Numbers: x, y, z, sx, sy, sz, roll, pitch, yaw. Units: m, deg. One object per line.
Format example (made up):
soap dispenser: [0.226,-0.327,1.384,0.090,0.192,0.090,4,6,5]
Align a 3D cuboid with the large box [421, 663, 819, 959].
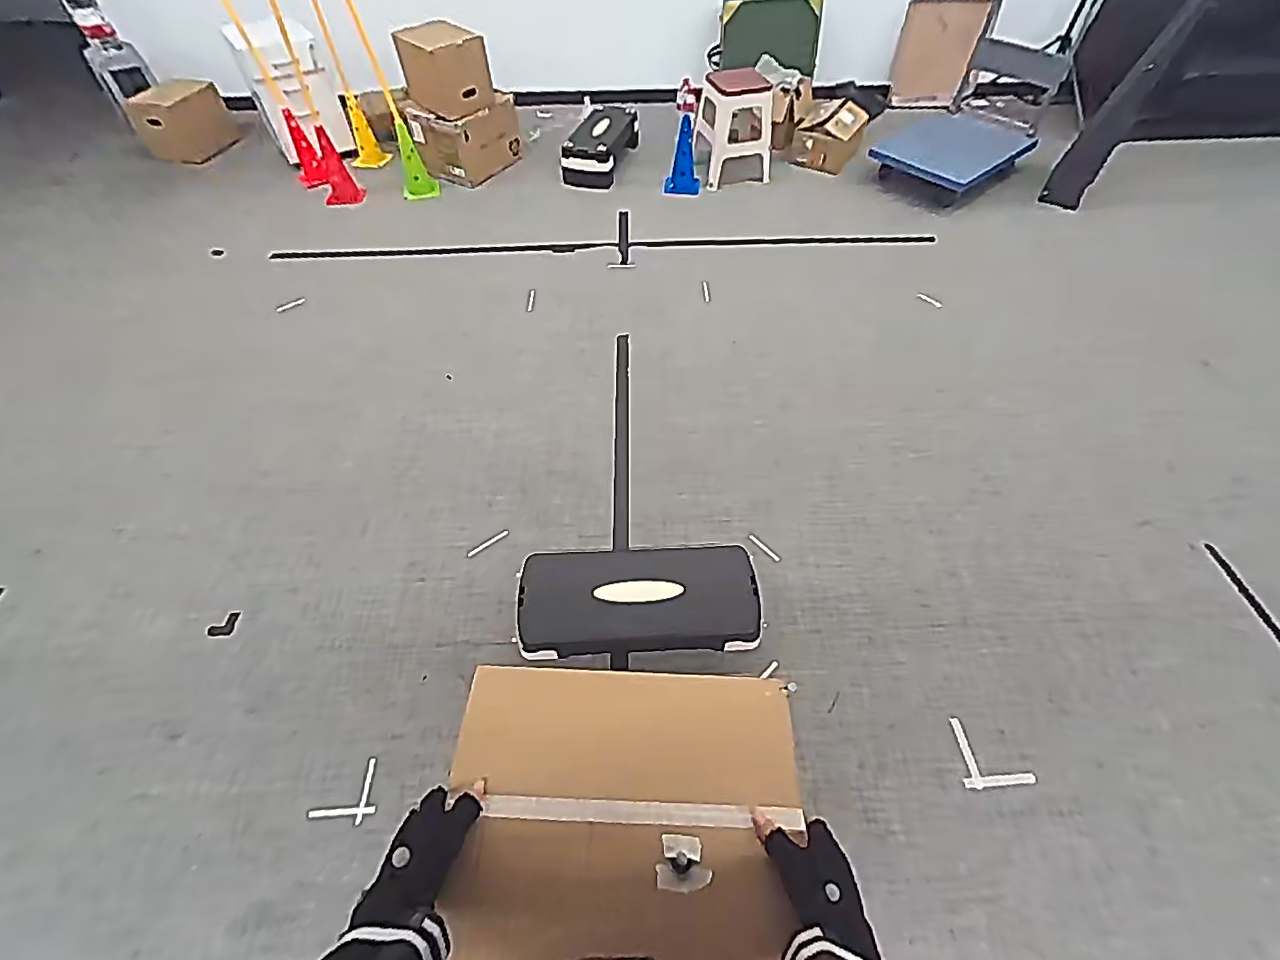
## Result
large box: [-0.018,0.463,0.736,0.408,0.320,0.320,2,52,2]
